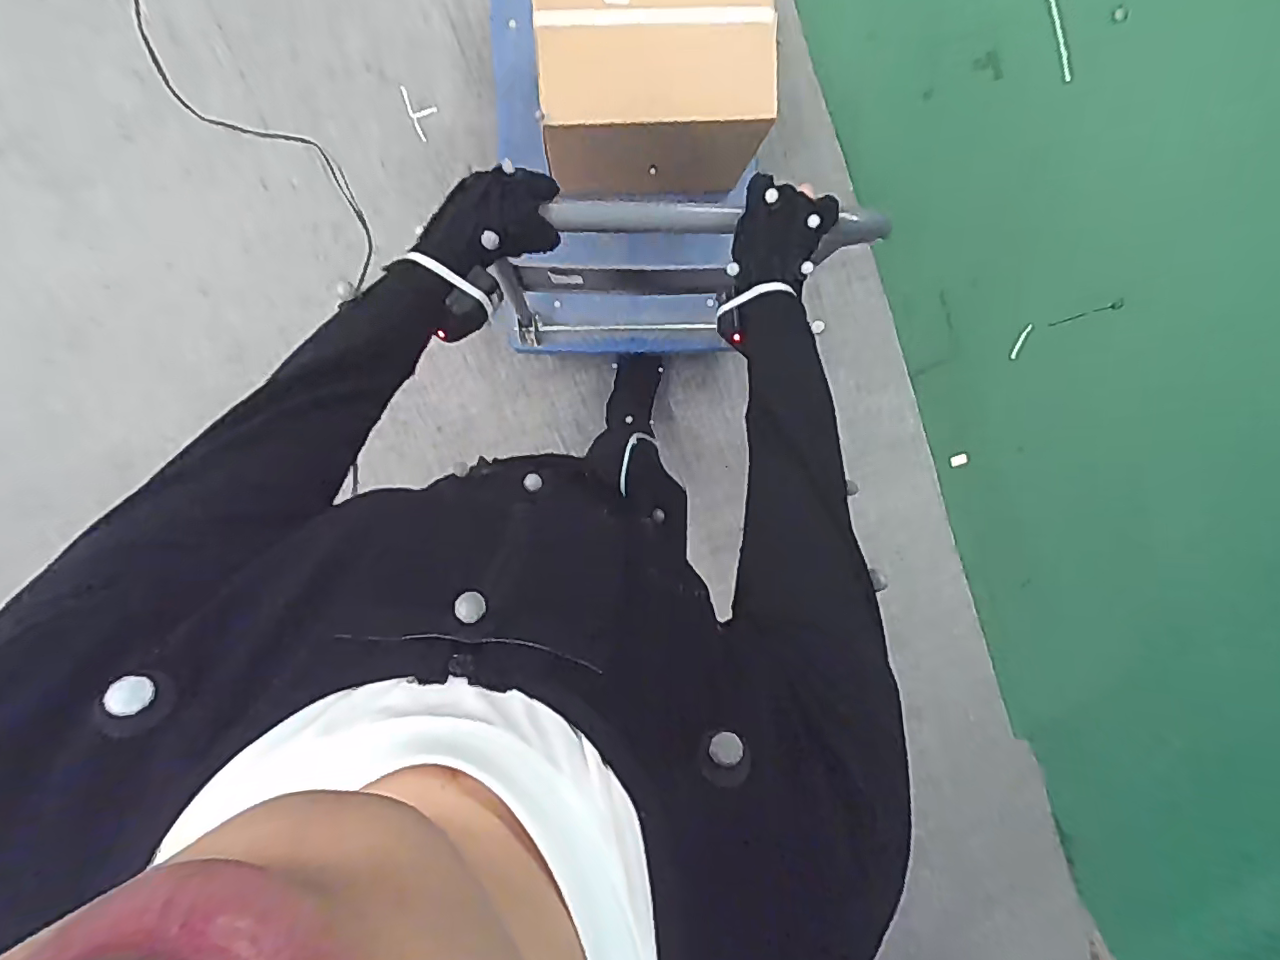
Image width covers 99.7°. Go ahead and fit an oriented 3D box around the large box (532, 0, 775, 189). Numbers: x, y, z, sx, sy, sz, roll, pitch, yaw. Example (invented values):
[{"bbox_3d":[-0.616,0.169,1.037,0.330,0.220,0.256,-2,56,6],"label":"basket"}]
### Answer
[{"bbox_3d":[0.014,-0.786,1.041,0.408,0.320,0.320,-5,97,-4],"label":"large box"}]
